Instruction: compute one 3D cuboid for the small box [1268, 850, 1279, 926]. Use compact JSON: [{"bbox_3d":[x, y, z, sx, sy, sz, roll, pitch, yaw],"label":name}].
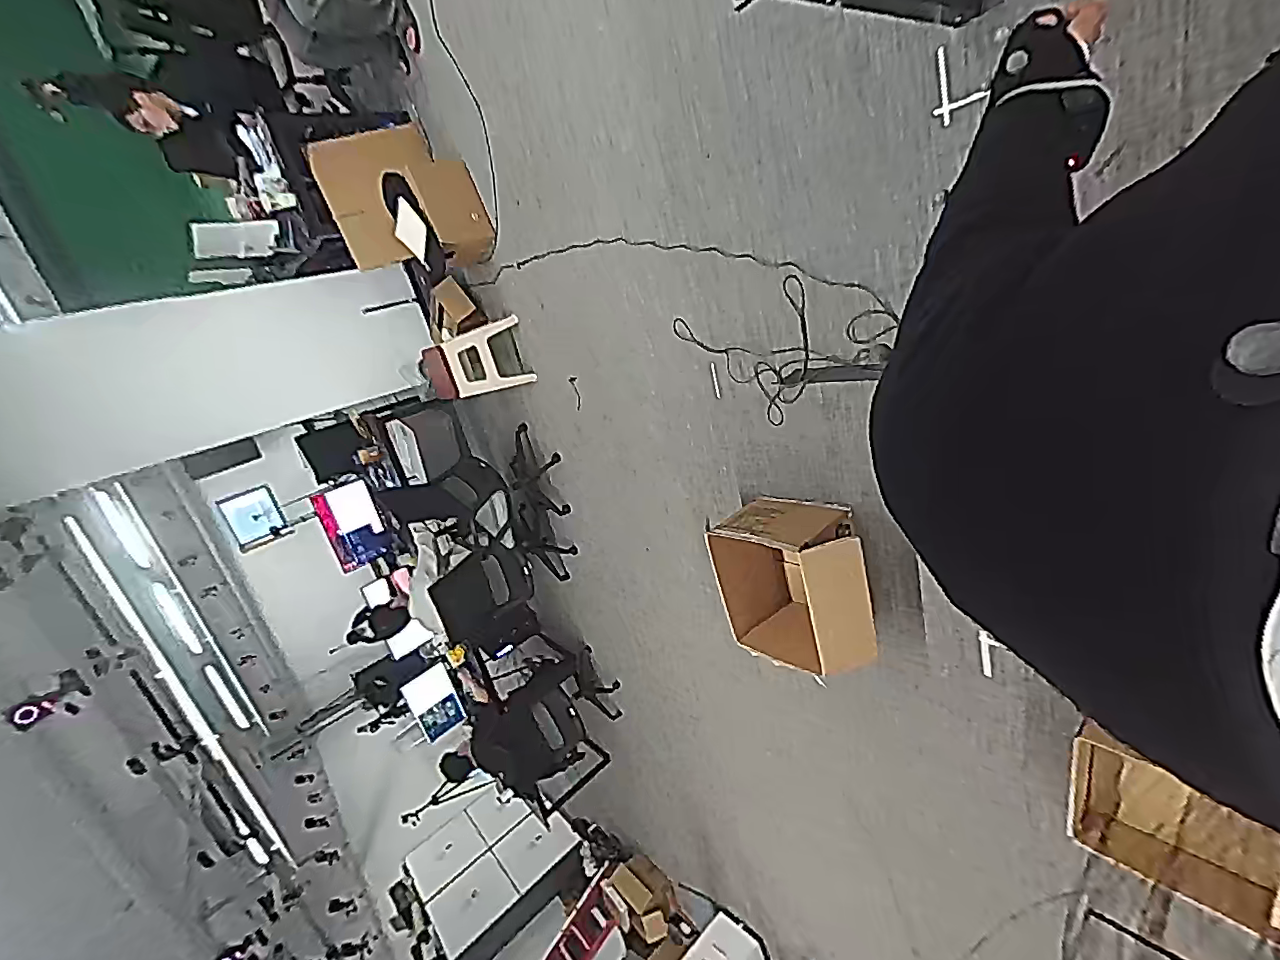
[{"bbox_3d":[1.490,0.882,1.148,0.179,0.176,0.168,12,120,52],"label":"small box"}]
